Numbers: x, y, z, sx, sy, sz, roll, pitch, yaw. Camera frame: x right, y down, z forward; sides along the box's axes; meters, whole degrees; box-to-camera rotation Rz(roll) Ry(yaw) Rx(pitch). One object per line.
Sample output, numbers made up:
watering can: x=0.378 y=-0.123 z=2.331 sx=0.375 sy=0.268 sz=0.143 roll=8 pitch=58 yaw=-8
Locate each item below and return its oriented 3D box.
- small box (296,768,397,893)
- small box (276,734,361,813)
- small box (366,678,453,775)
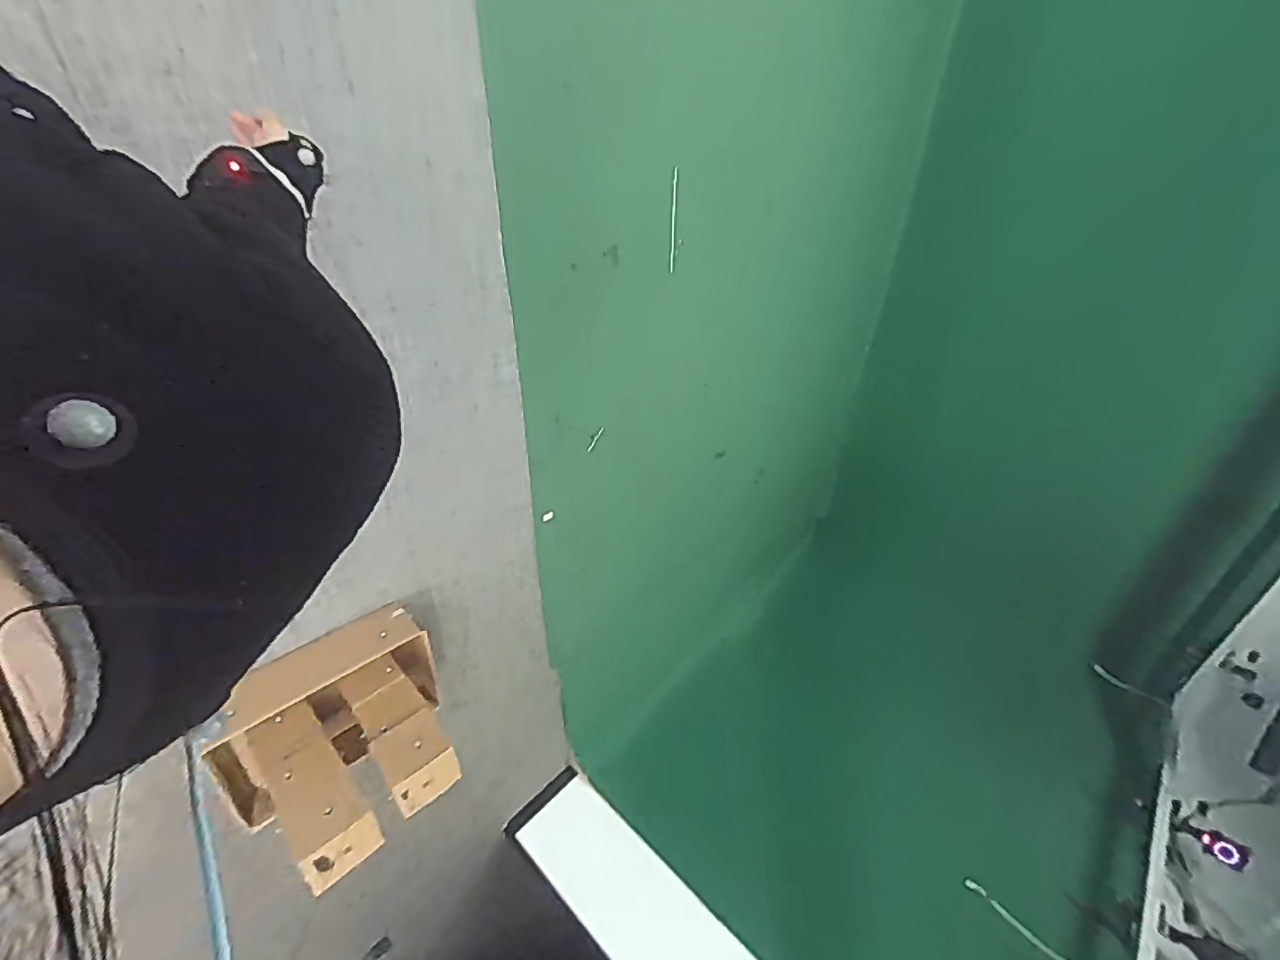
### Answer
small box: x=-0.770 y=0.906 z=1.412 sx=0.179 sy=0.176 sz=0.168 roll=-27 pitch=131 yaw=-40
small box: x=-0.885 y=0.849 z=1.515 sx=0.168 sy=0.176 sz=0.179 roll=-27 pitch=131 yaw=-39
small box: x=-0.709 y=0.752 z=1.669 sx=0.179 sy=0.176 sz=0.168 roll=-28 pitch=131 yaw=-35
